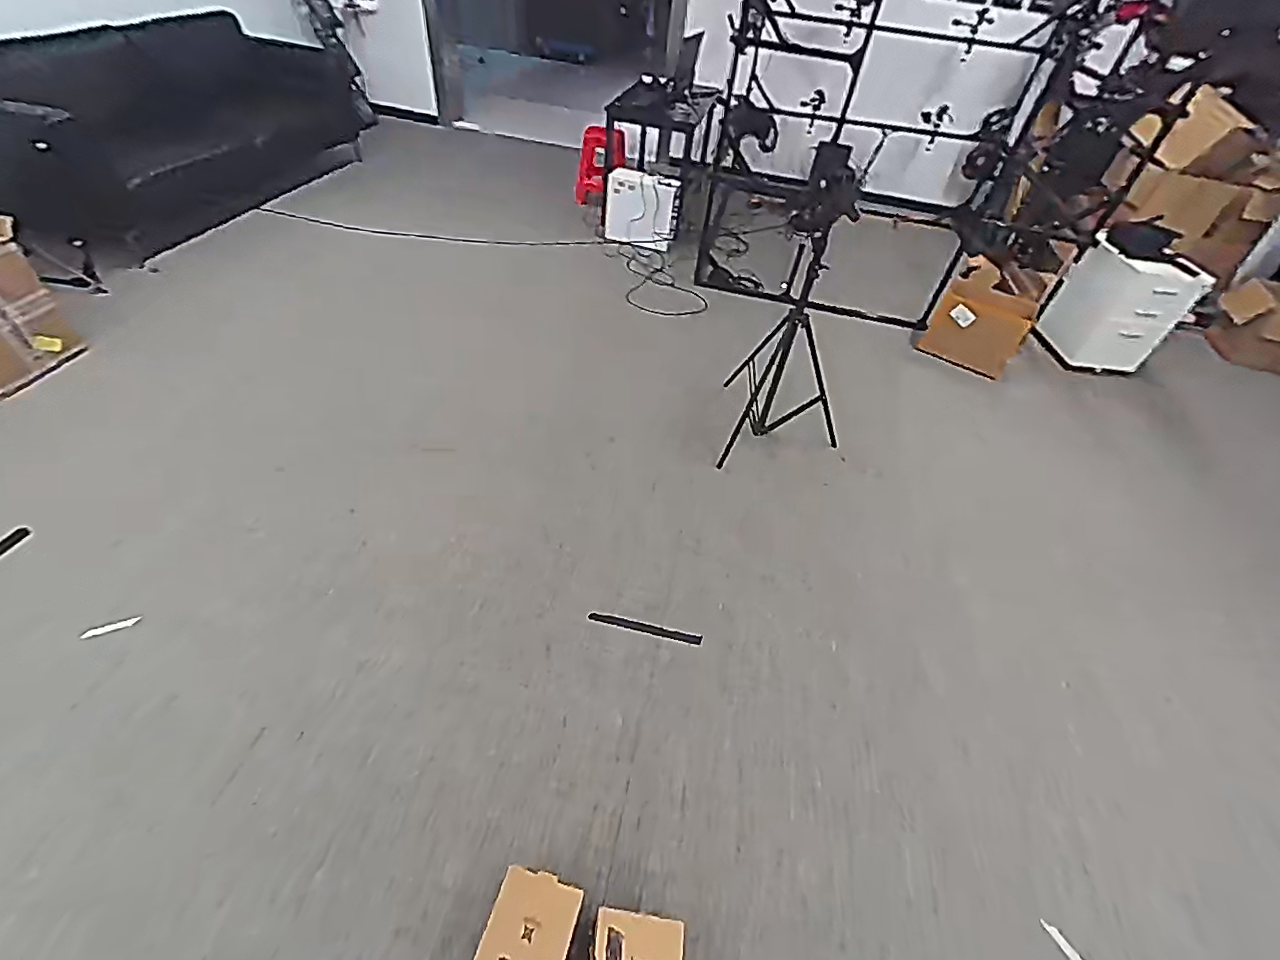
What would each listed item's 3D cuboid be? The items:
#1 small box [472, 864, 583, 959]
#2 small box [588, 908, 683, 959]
[{"bbox_3d":[-0.225,0.932,1.106,0.168,0.176,0.179,15,45,8],"label":"small box"},{"bbox_3d":[-0.019,0.987,1.082,0.179,0.176,0.168,10,45,1],"label":"small box"}]
